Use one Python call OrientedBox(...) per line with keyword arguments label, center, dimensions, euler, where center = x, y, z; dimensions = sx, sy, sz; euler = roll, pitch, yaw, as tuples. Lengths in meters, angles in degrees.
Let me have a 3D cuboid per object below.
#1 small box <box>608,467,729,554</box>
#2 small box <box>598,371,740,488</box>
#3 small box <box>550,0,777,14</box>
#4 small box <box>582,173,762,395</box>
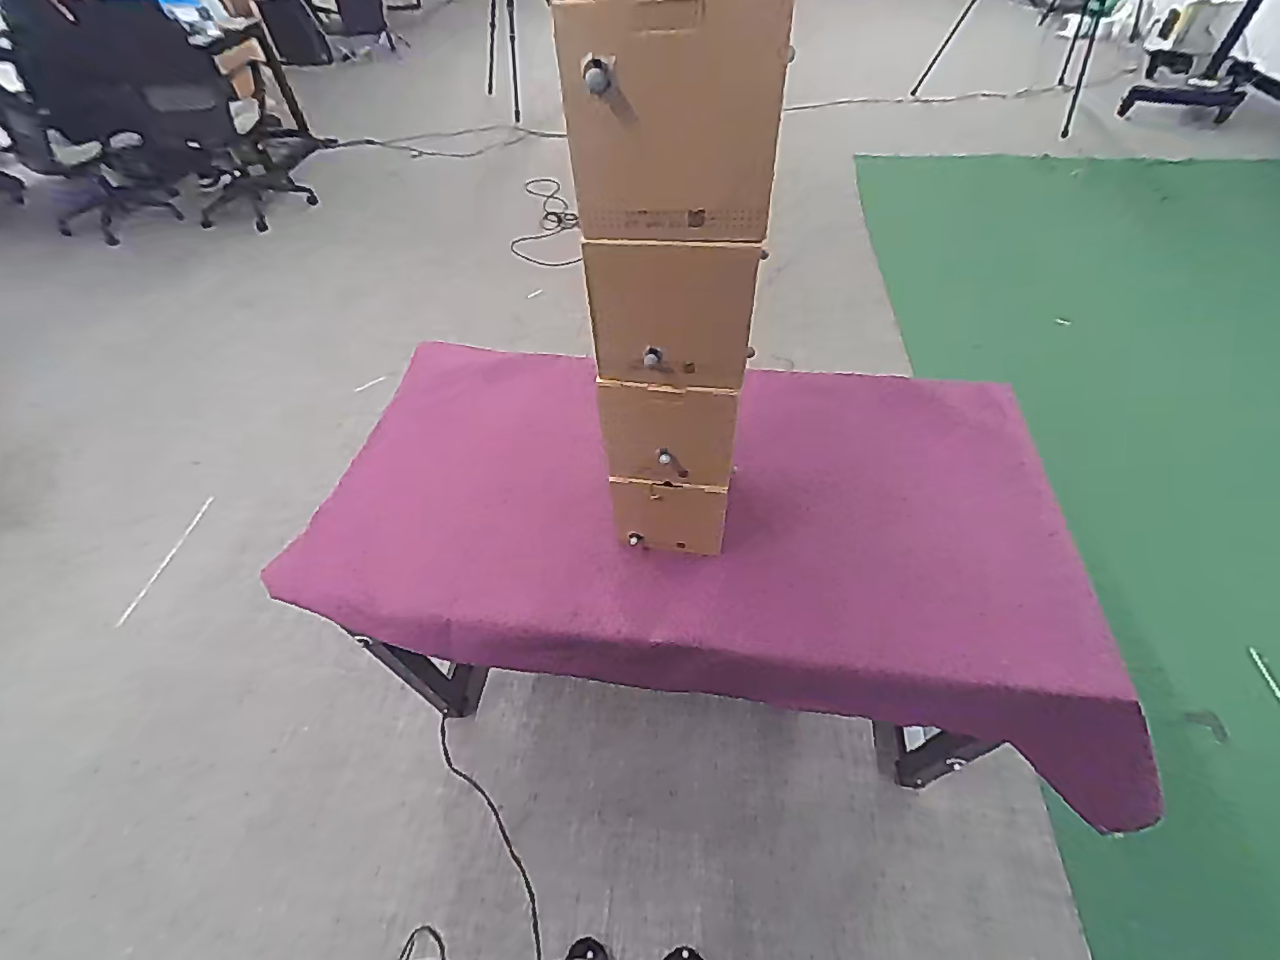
OrientedBox(label="small box", center=(0.054, -0.003, 0.851), dimensions=(0.168, 0.176, 0.179), euler=(6, 51, 8))
OrientedBox(label="small box", center=(0.047, -0.113, 0.730), dimensions=(0.168, 0.176, 0.179), euler=(5, 51, 8))
OrientedBox(label="small box", center=(0.024, -0.434, 0.361), dimensions=(0.179, 0.176, 0.168), euler=(5, 49, 7))
OrientedBox(label="small box", center=(0.041, -0.220, 0.607), dimensions=(0.168, 0.176, 0.179), euler=(5, 51, 8))
